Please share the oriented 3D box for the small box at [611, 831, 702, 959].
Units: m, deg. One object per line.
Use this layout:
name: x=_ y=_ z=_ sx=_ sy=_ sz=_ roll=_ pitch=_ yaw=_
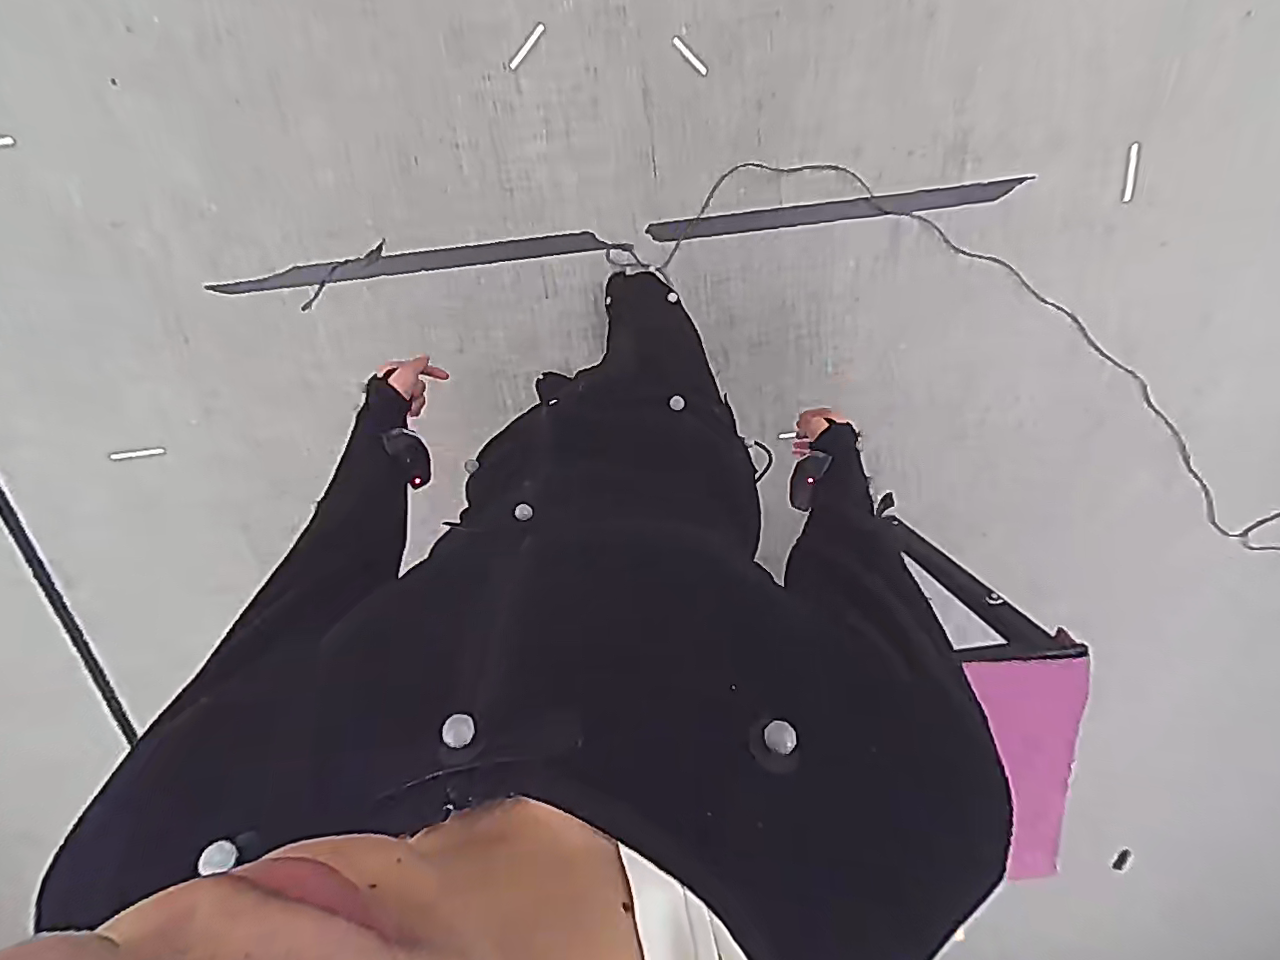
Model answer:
small box: x=0.028 y=0.836 z=1.069 sx=0.168 sy=0.176 sz=0.179 roll=-1 pitch=106 yaw=-2
